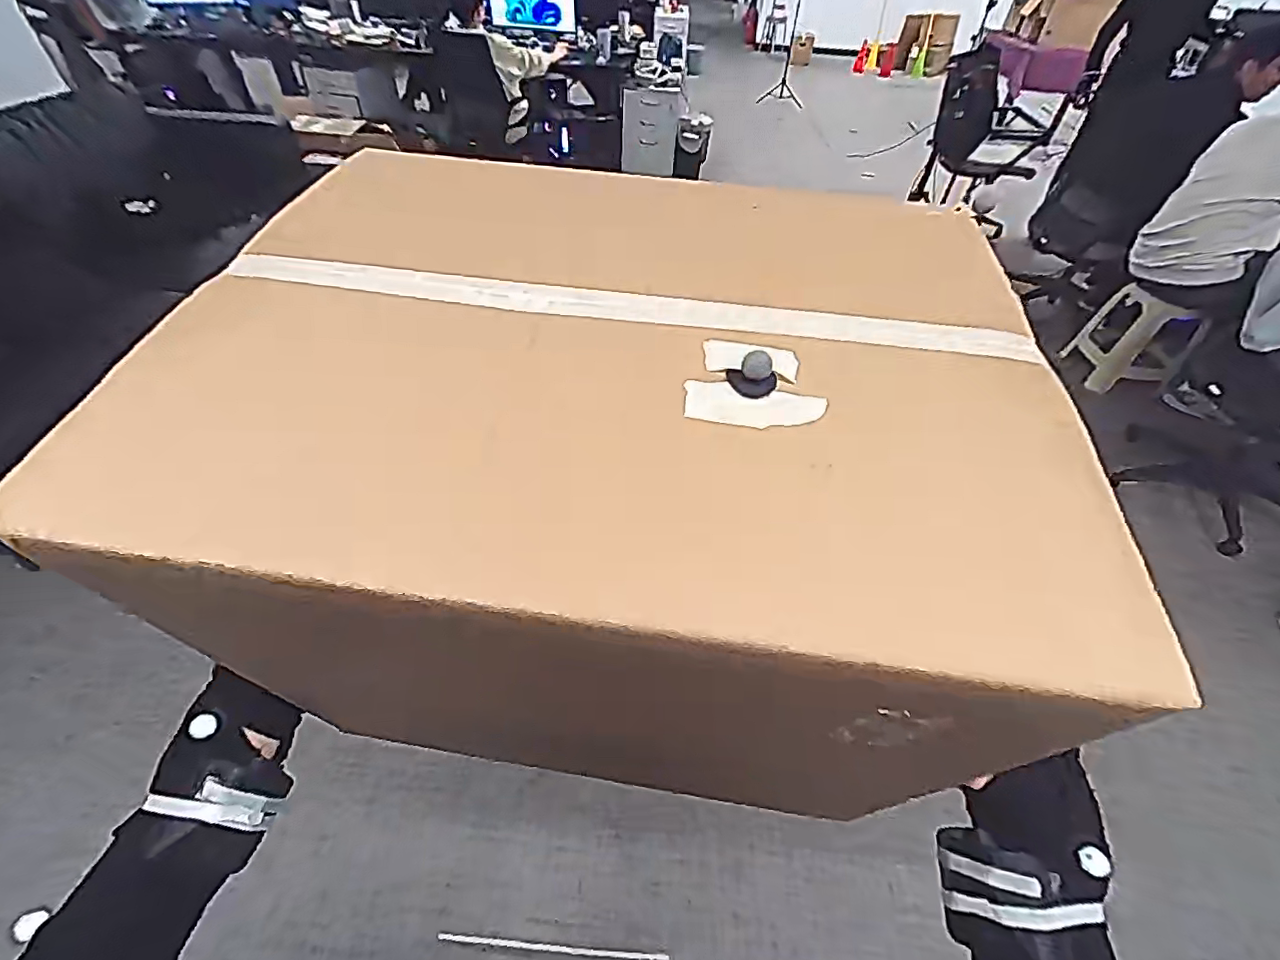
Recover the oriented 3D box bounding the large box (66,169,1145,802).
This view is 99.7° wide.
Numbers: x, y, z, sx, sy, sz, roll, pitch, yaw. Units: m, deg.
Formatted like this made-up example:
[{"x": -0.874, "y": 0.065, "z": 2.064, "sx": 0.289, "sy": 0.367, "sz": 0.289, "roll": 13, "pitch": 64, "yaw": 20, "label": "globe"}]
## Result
[{"x": -0.009, "y": 0.013, "z": 0.400, "sx": 0.408, "sy": 0.320, "sz": 0.320, "roll": 8, "pitch": 53, "yaw": 4, "label": "large box"}]
